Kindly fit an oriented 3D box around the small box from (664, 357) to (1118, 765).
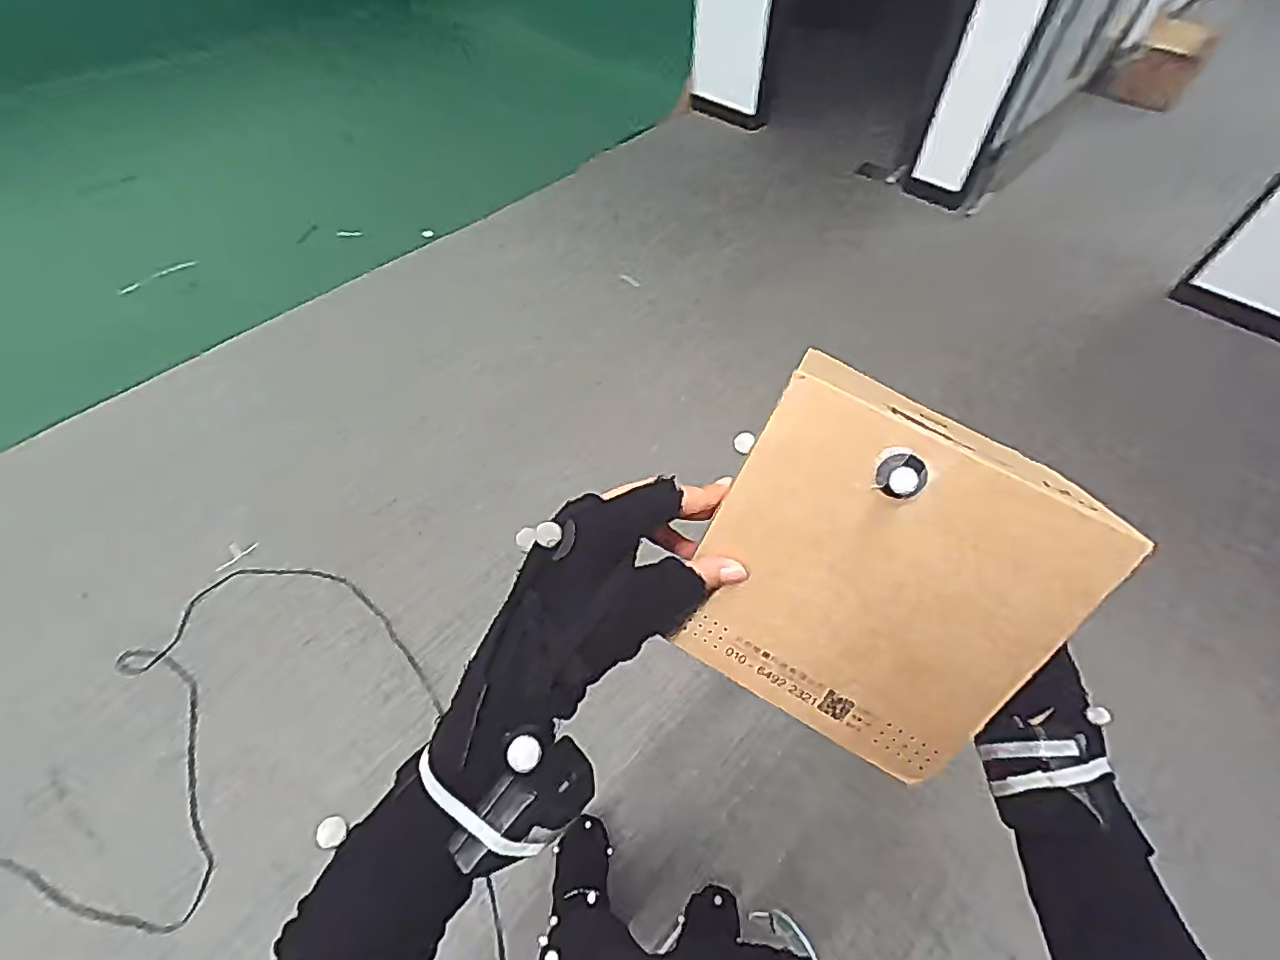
[{"bbox_3d":[0.134,0.034,0.356,0.168,0.176,0.179,28,22,9],"label":"small box"}]
